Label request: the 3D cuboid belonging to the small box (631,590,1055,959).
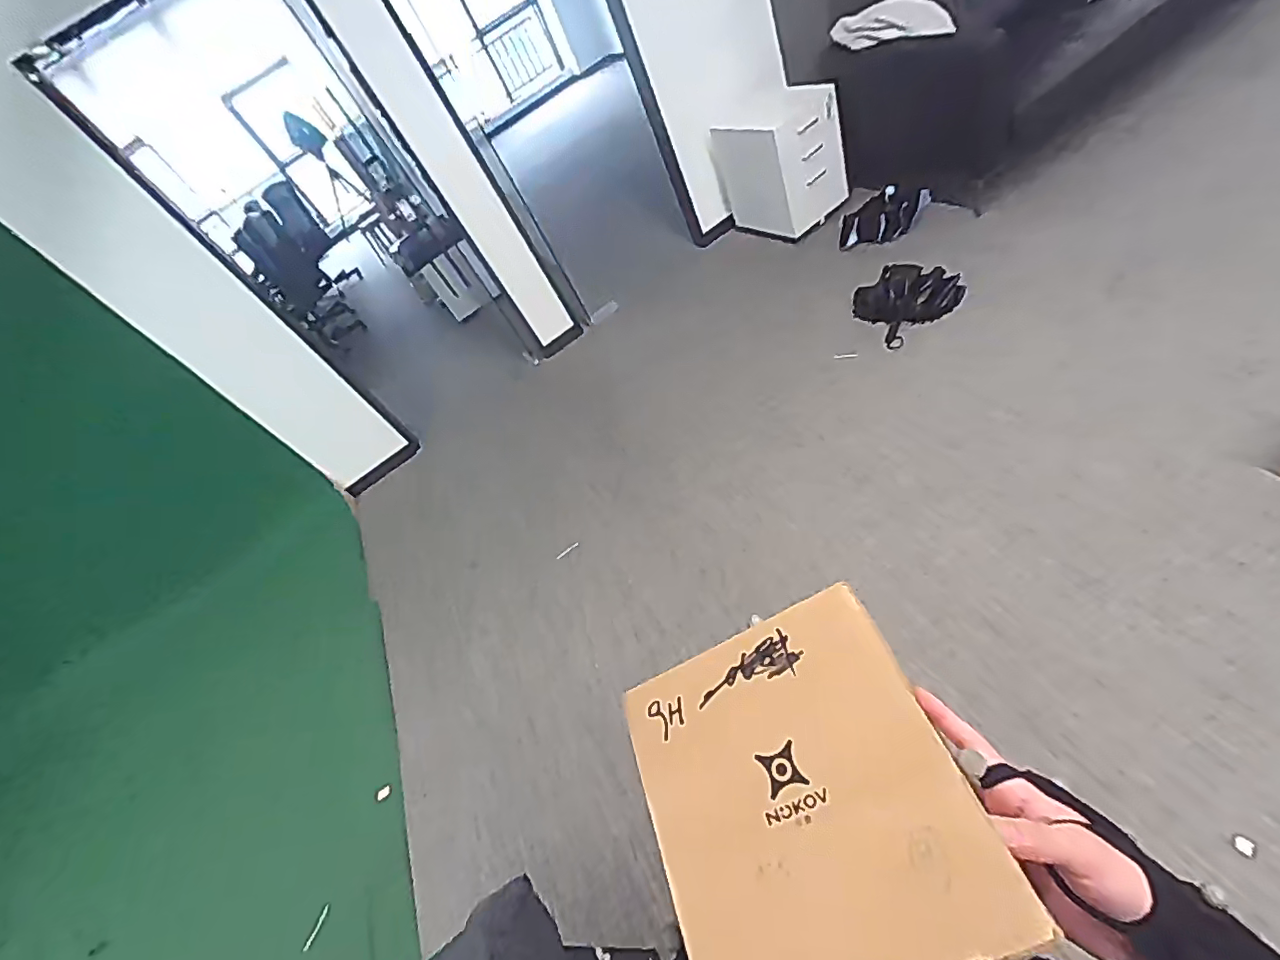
[{"bbox_3d":[0.122,0.204,0.353,0.168,0.176,0.179,-31,50,12],"label":"small box"}]
